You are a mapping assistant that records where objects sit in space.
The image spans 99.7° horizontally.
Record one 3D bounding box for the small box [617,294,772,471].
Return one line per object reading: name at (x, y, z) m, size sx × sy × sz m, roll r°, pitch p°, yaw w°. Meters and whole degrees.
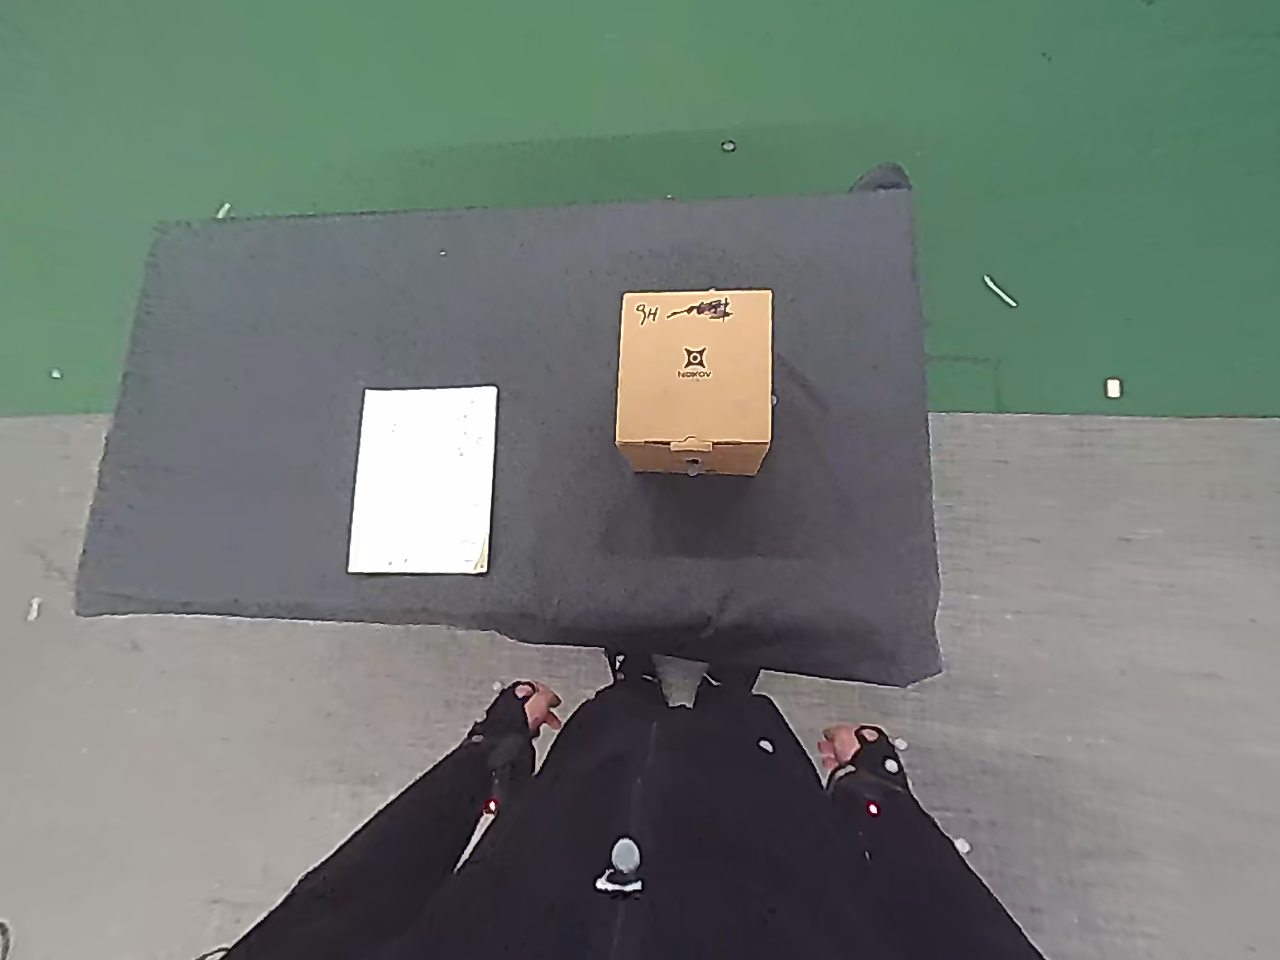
small box at (0.069, -0.107, 0.663) m, size 0.168 × 0.176 × 0.179 m, roll 1°, pitch 82°, yaw 7°
